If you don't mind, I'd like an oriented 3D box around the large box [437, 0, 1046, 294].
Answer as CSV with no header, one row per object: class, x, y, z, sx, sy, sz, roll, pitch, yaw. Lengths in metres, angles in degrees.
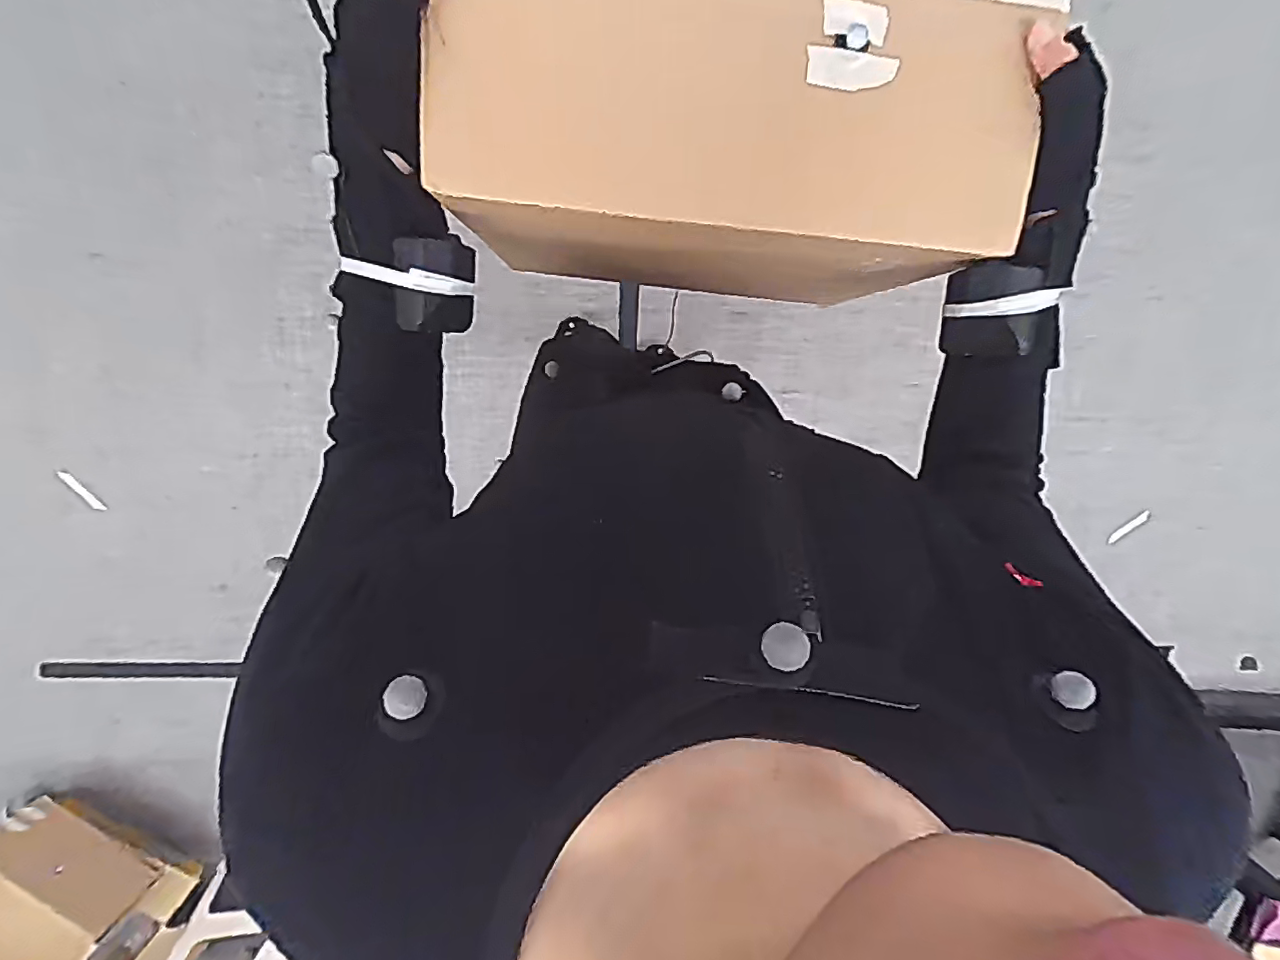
large box,0.062,-0.362,0.490,0.408,0.320,0.320,4,103,-4
